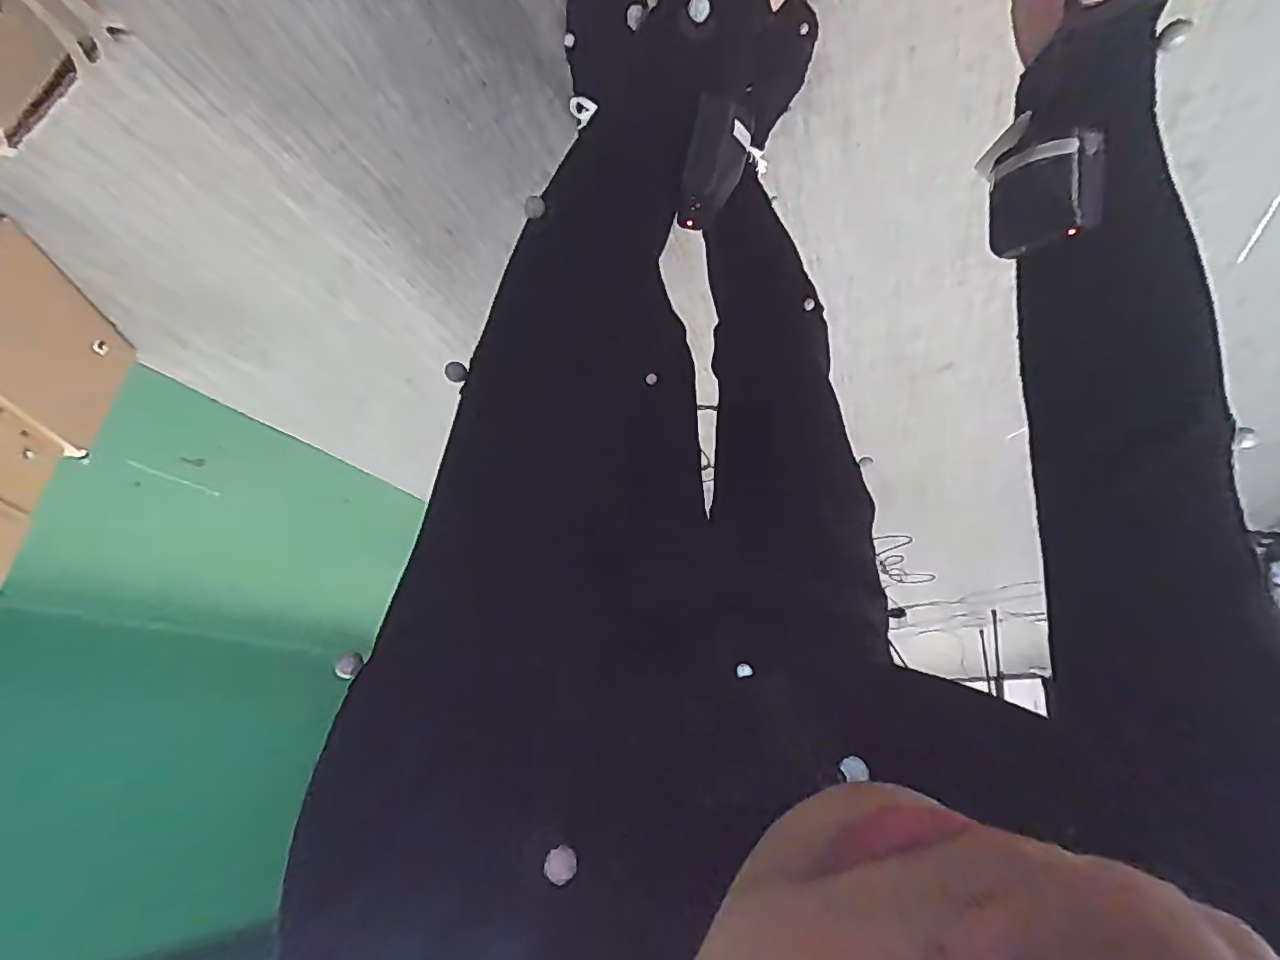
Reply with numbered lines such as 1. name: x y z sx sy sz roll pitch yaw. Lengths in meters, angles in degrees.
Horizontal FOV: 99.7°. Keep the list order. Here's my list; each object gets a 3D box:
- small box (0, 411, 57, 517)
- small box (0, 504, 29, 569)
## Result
1. small box: -1.344 -0.034 1.073 0.179 0.176 0.168 2 153 -11
2. small box: -1.328 0.113 1.002 0.179 0.176 0.168 3 153 -10
